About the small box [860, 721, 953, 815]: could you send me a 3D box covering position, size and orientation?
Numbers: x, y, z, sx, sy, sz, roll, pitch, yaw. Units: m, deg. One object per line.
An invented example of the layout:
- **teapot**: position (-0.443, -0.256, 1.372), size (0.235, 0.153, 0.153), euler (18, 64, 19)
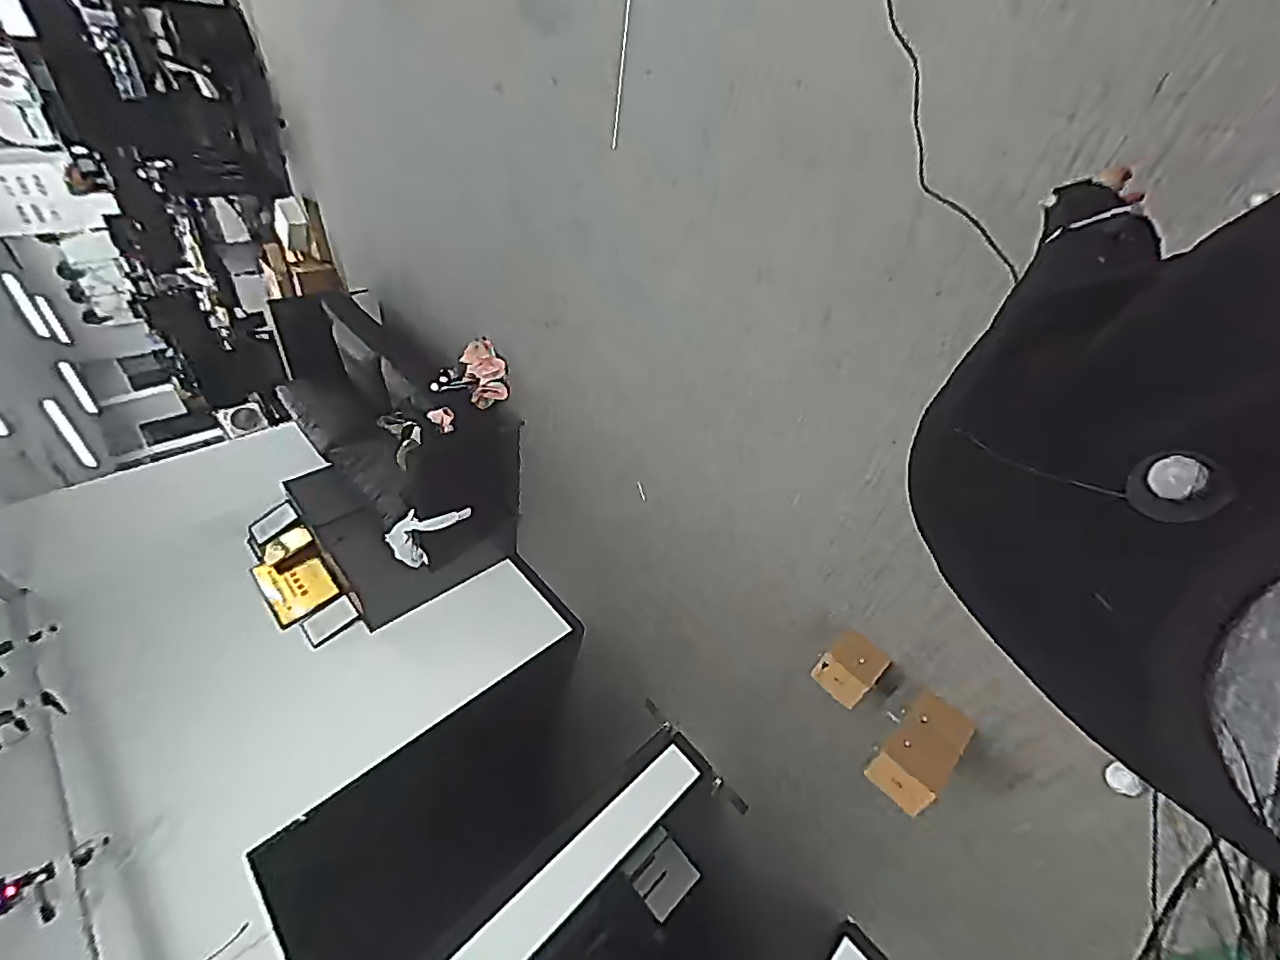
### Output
- **small box**: position (0.833, 0.890, 1.693), size (0.179, 0.176, 0.168), euler (37, 137, 30)

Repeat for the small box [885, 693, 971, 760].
- **small box**: position (0.951, 0.840, 1.795), size (0.179, 0.176, 0.168), euler (37, 137, 30)
